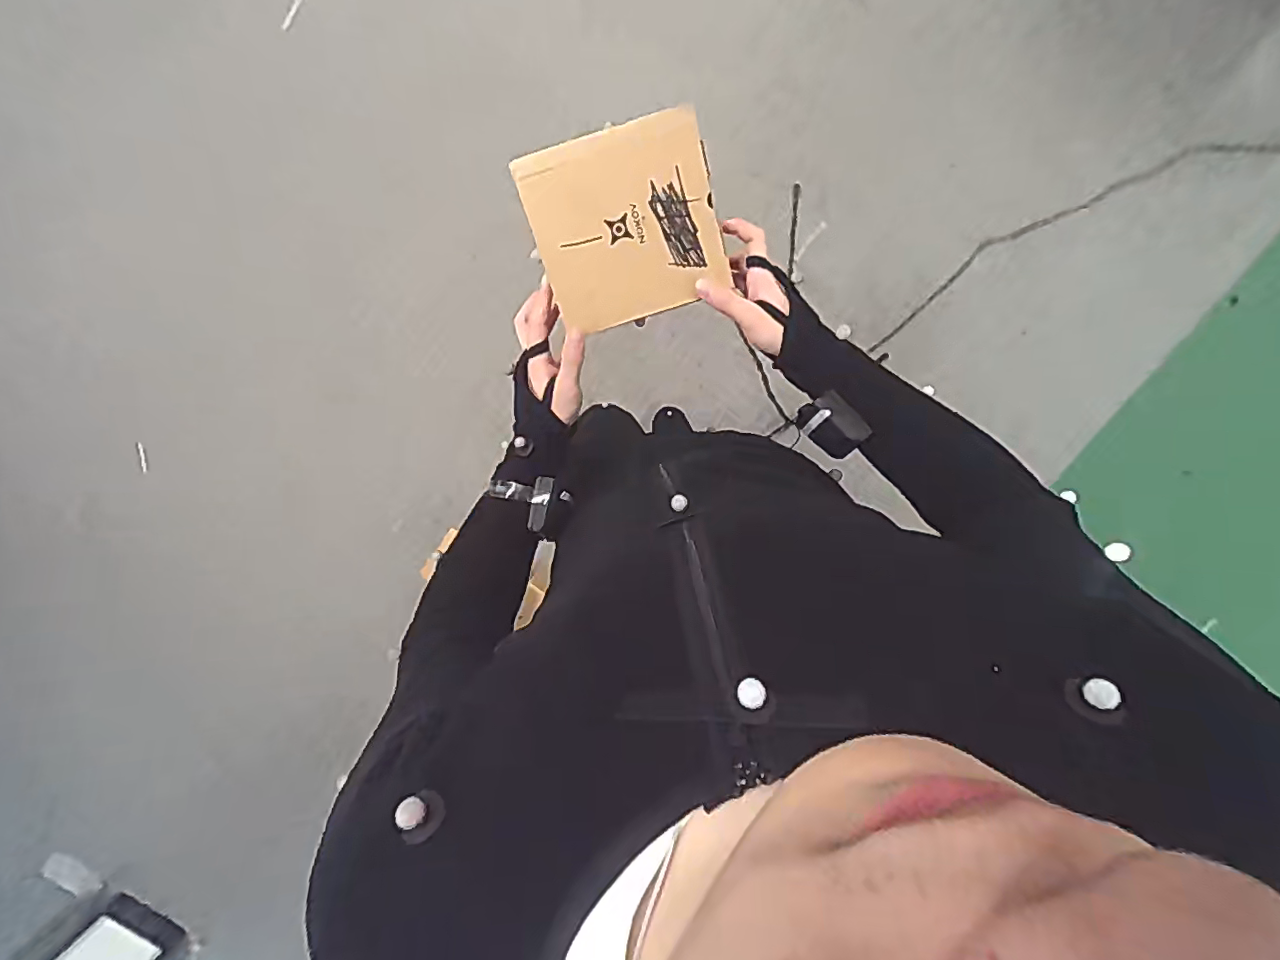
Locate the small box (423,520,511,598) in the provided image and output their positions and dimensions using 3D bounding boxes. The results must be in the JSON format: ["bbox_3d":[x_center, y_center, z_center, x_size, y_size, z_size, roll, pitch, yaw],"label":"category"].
[{"bbox_3d":[-0.504,0.242,1.609,0.168,0.176,0.179,35,99,-3],"label":"small box"}]

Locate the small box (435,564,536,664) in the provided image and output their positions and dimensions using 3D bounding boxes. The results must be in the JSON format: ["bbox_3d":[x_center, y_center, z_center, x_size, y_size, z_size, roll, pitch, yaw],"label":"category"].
[{"bbox_3d":[-0.406,0.349,1.454,0.179,0.176,0.168,34,98,0],"label":"small box"}]

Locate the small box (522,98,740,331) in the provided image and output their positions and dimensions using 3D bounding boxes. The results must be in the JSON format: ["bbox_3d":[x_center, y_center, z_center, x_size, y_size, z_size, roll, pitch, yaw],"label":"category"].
[{"bbox_3d":[-0.011,-0.272,0.579,0.179,0.176,0.168,-16,112,1],"label":"small box"}]
